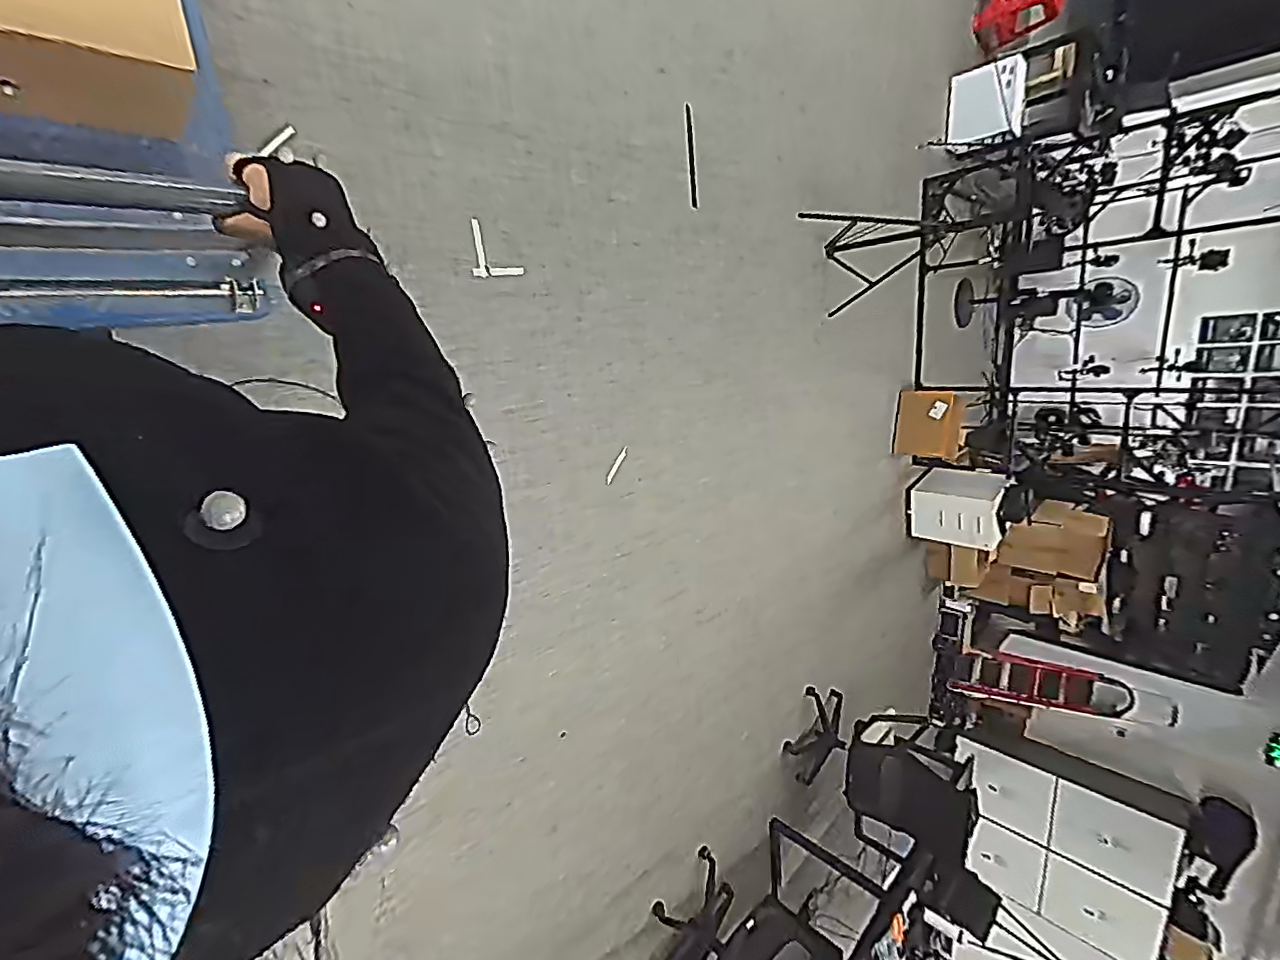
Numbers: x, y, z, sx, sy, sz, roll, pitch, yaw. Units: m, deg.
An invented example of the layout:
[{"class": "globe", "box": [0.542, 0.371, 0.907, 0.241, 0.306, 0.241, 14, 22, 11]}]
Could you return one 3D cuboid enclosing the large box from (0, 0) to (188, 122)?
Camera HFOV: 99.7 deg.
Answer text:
[{"class": "large box", "box": [-0.897, -0.719, 0.708, 0.408, 0.320, 0.320, -17, 109, -40]}]
